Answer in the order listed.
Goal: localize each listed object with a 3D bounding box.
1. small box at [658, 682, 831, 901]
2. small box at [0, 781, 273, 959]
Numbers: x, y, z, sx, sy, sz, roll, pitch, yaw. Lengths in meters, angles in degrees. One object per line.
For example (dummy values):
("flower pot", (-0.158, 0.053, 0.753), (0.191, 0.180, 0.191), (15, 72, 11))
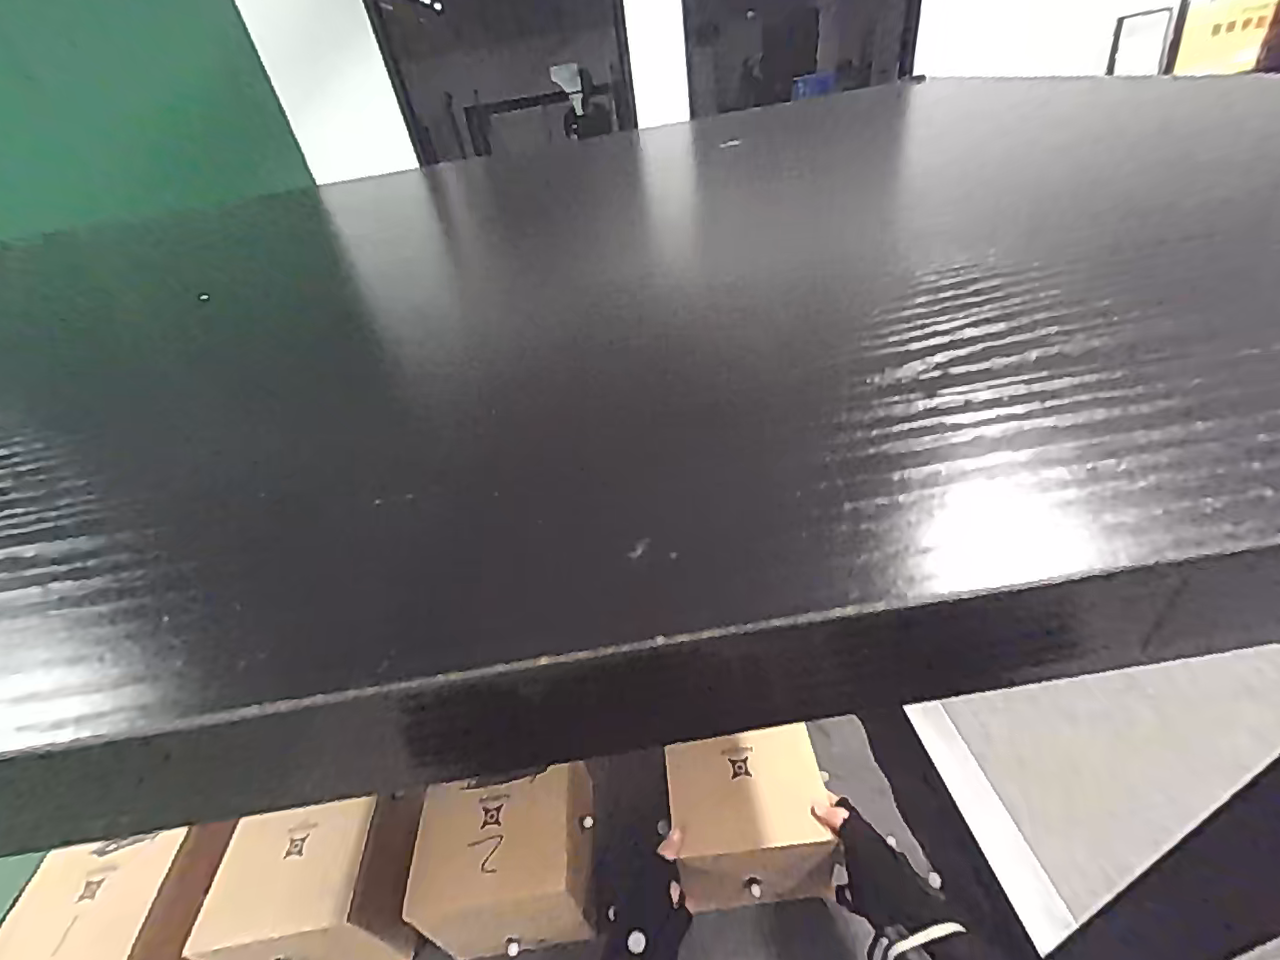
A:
("small box", (0.116, 0.372, 0.644), (0.168, 0.176, 0.179), (-8, 36, 3))
("small box", (-0.582, 0.499, 0.644), (0.168, 0.176, 0.179), (-11, 37, -1))
